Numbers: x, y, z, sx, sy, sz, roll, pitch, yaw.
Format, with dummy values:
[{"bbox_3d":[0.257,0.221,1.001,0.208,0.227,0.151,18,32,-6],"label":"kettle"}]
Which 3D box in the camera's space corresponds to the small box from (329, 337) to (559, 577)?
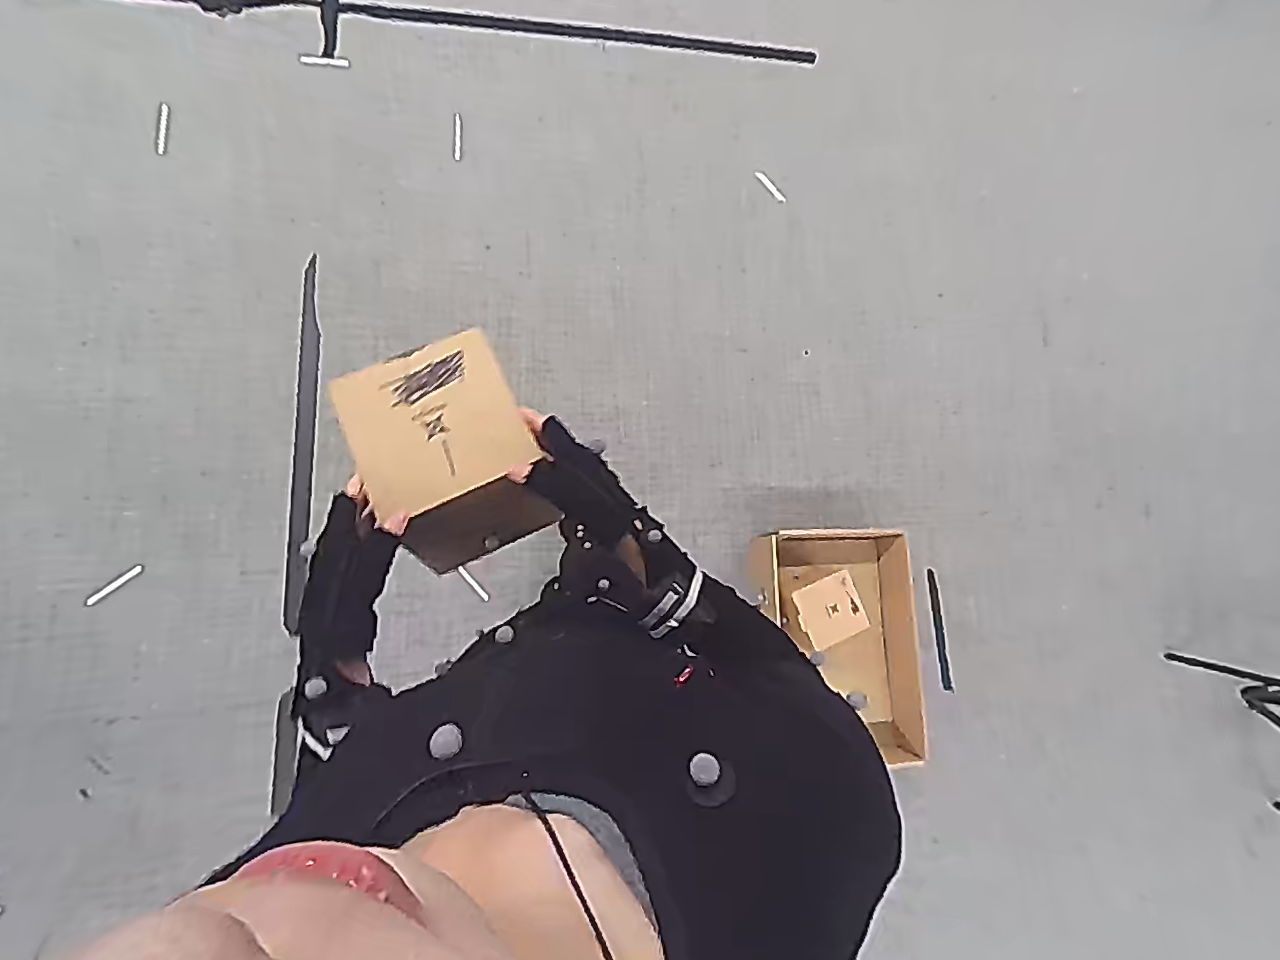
[{"bbox_3d":[-0.206,-0.018,0.604,0.168,0.176,0.179,-27,67,-12],"label":"small box"}]
